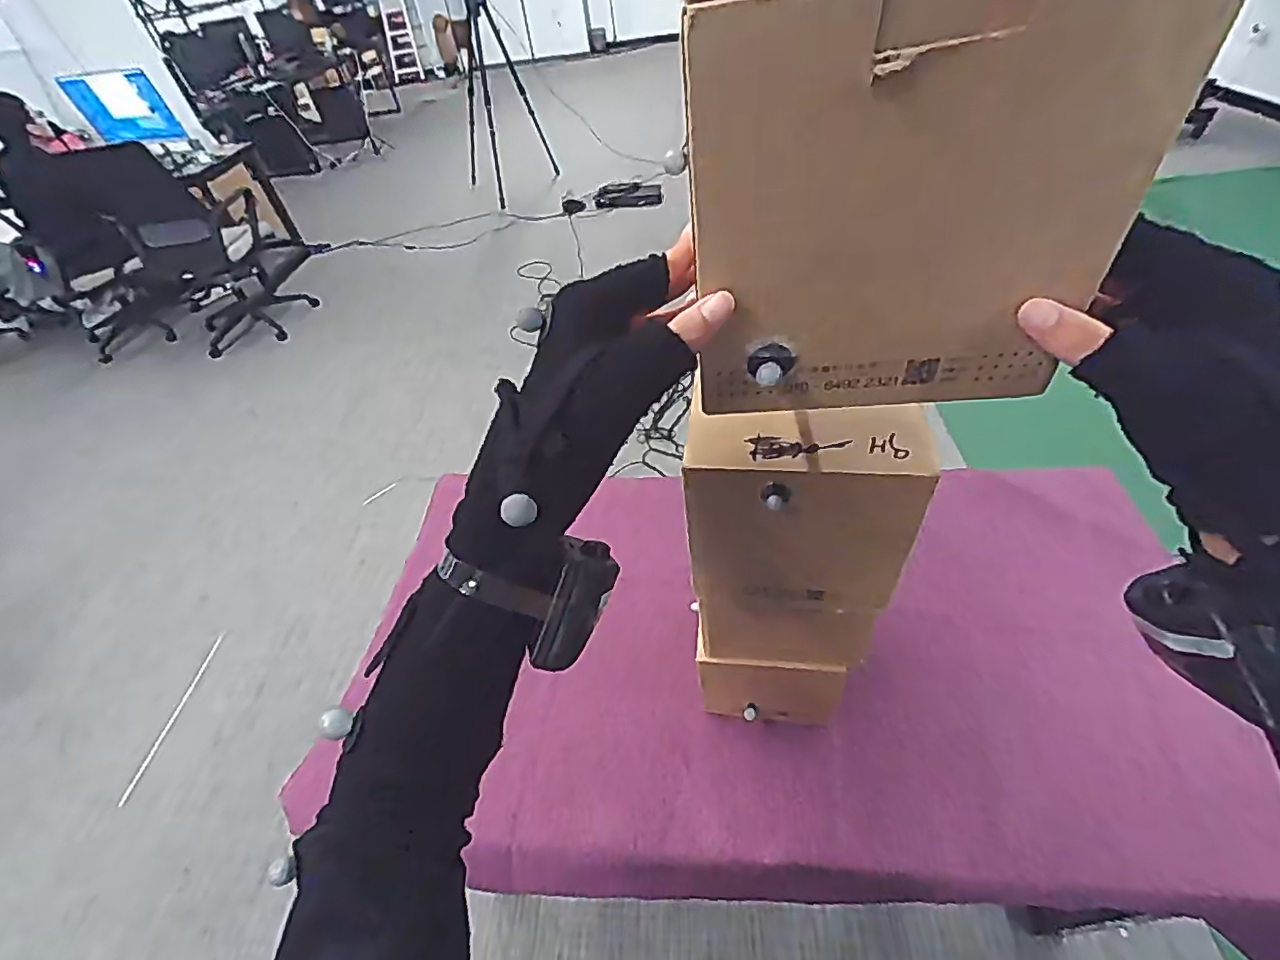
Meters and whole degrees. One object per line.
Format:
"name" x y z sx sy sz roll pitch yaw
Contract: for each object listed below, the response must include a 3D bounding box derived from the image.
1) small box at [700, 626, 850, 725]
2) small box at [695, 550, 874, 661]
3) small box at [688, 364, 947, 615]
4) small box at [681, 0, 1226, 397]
"small box" 0.170 0.198 0.714 0.168 0.176 0.179 1 48 11
"small box" 0.157 0.086 0.597 0.179 0.176 0.168 0 47 10
"small box" 0.135 -0.009 0.464 0.168 0.176 0.179 2 46 12
"small box" 0.111 -0.153 0.267 0.168 0.176 0.179 -3 46 8
